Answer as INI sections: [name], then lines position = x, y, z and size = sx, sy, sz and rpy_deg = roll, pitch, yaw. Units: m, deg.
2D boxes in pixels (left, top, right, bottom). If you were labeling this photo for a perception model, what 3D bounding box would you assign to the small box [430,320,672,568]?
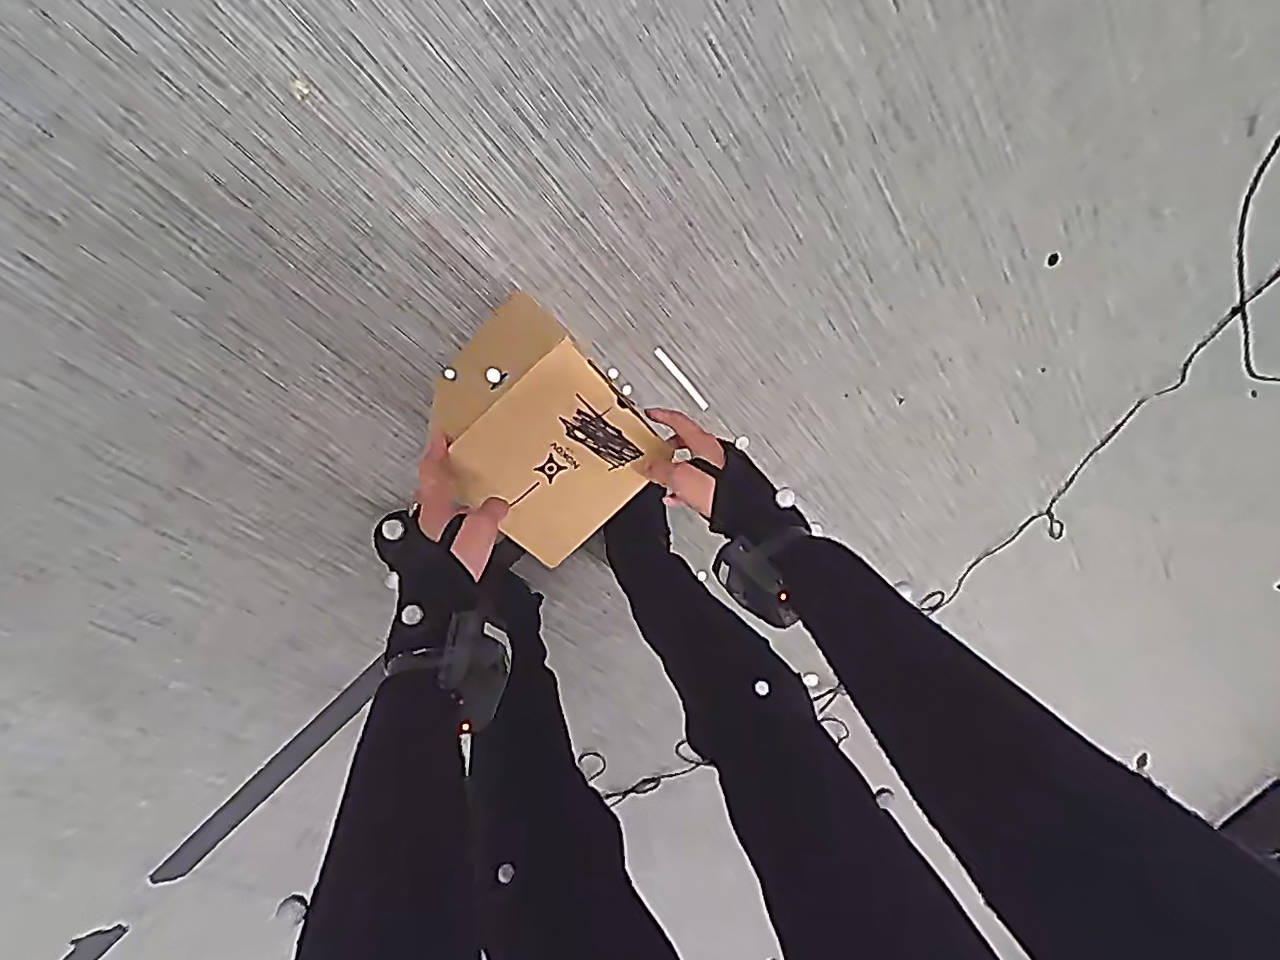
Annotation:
[small box]
position = -0.101, -0.048, 0.581
size = 0.179, 0.176, 0.168
rpy_deg = -42, 120, 5
